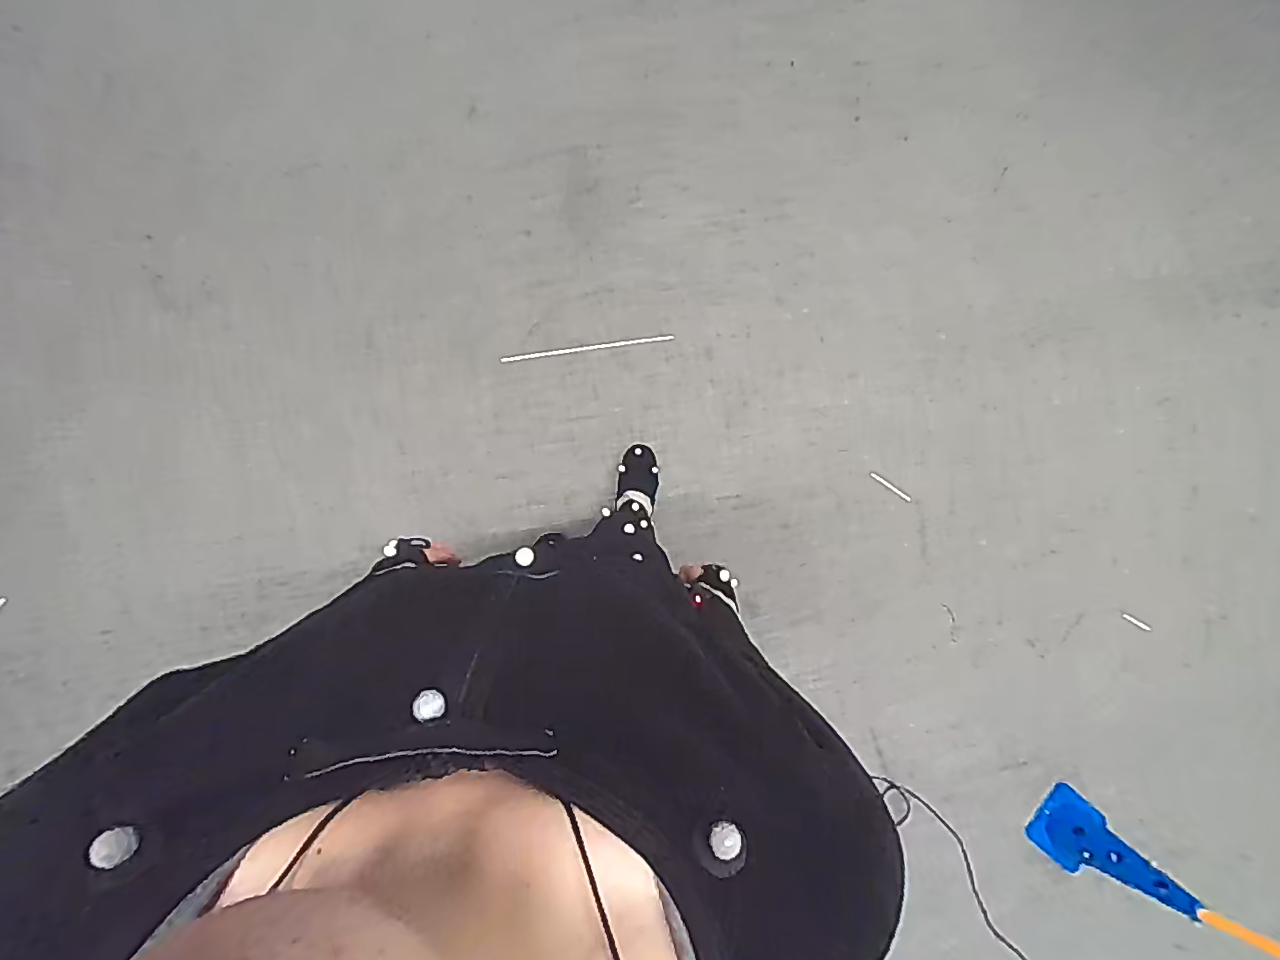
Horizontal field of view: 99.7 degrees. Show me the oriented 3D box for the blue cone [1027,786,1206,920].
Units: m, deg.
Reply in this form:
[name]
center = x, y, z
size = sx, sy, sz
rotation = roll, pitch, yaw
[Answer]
[blue cone]
center = 1.267, 1.010, 1.435
size = 0.192, 0.380, 0.193
rotation = 39, 82, -2
